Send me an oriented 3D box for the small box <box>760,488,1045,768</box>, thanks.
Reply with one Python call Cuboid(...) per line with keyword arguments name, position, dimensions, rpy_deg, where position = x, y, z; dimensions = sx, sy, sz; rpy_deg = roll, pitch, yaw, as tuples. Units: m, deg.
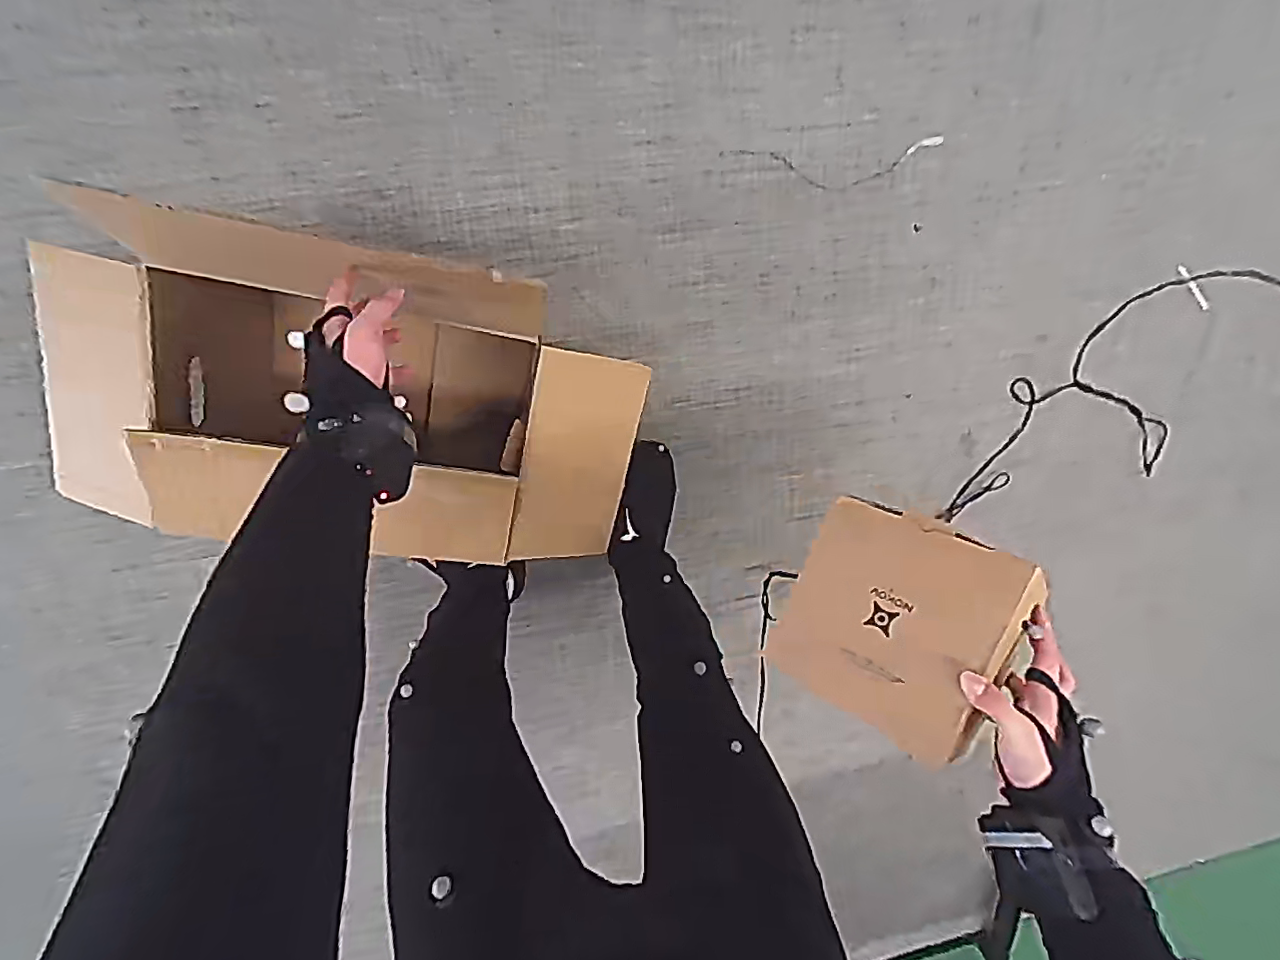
Cuboid(name="small box", position=(0.251, 0.136, 0.509), dimensions=(0.176, 0.168, 0.179), rpy_deg=(27, 91, -45))
